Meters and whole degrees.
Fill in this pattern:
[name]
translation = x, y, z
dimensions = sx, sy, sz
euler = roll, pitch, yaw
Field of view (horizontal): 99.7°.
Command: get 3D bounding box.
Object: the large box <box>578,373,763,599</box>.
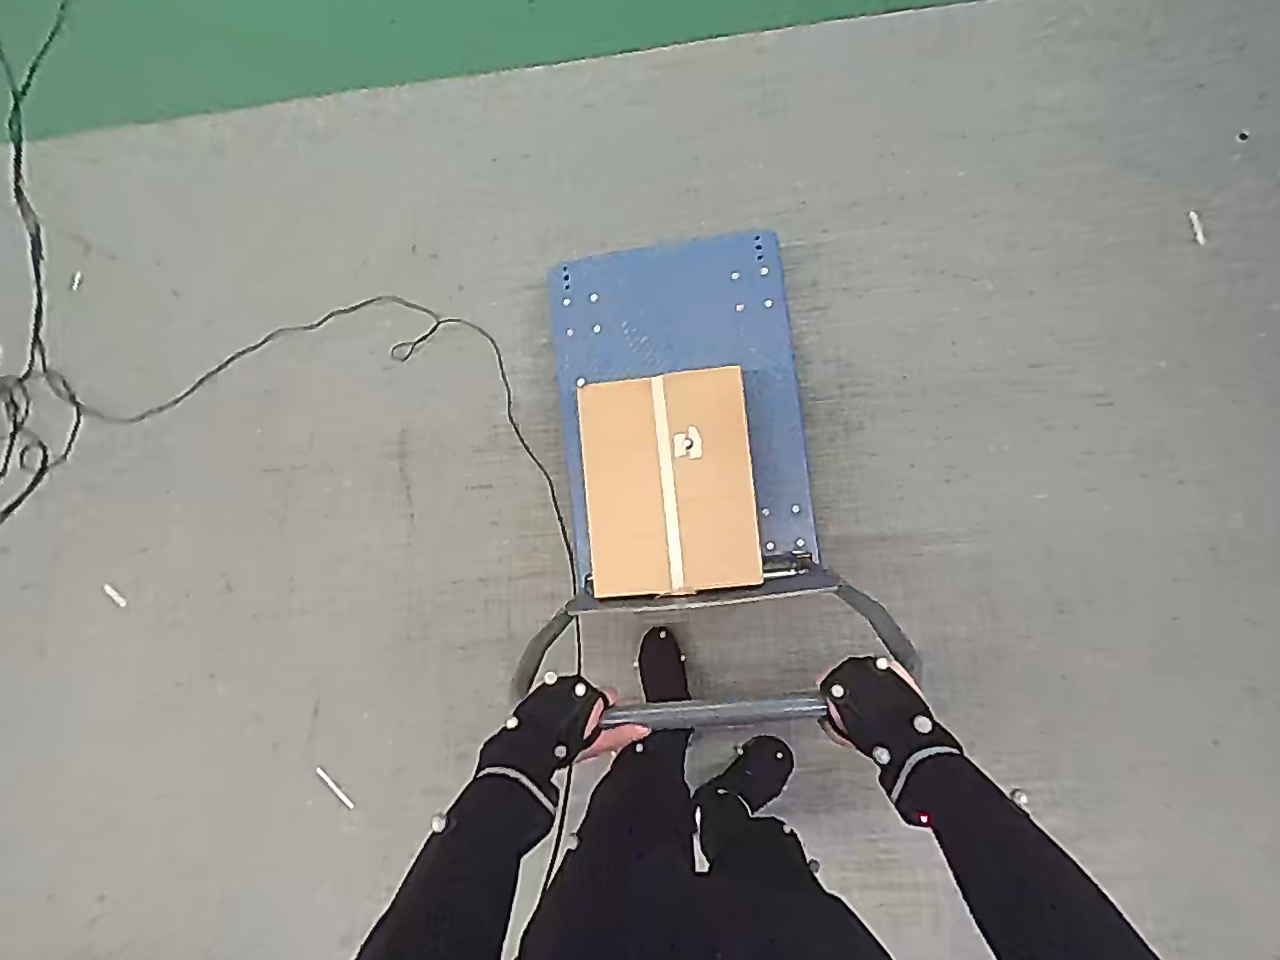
[large box]
translation = 0.069, 0.023, 1.160
dimensions = 0.320, 0.320, 0.408
euler = -6, 84, 5
